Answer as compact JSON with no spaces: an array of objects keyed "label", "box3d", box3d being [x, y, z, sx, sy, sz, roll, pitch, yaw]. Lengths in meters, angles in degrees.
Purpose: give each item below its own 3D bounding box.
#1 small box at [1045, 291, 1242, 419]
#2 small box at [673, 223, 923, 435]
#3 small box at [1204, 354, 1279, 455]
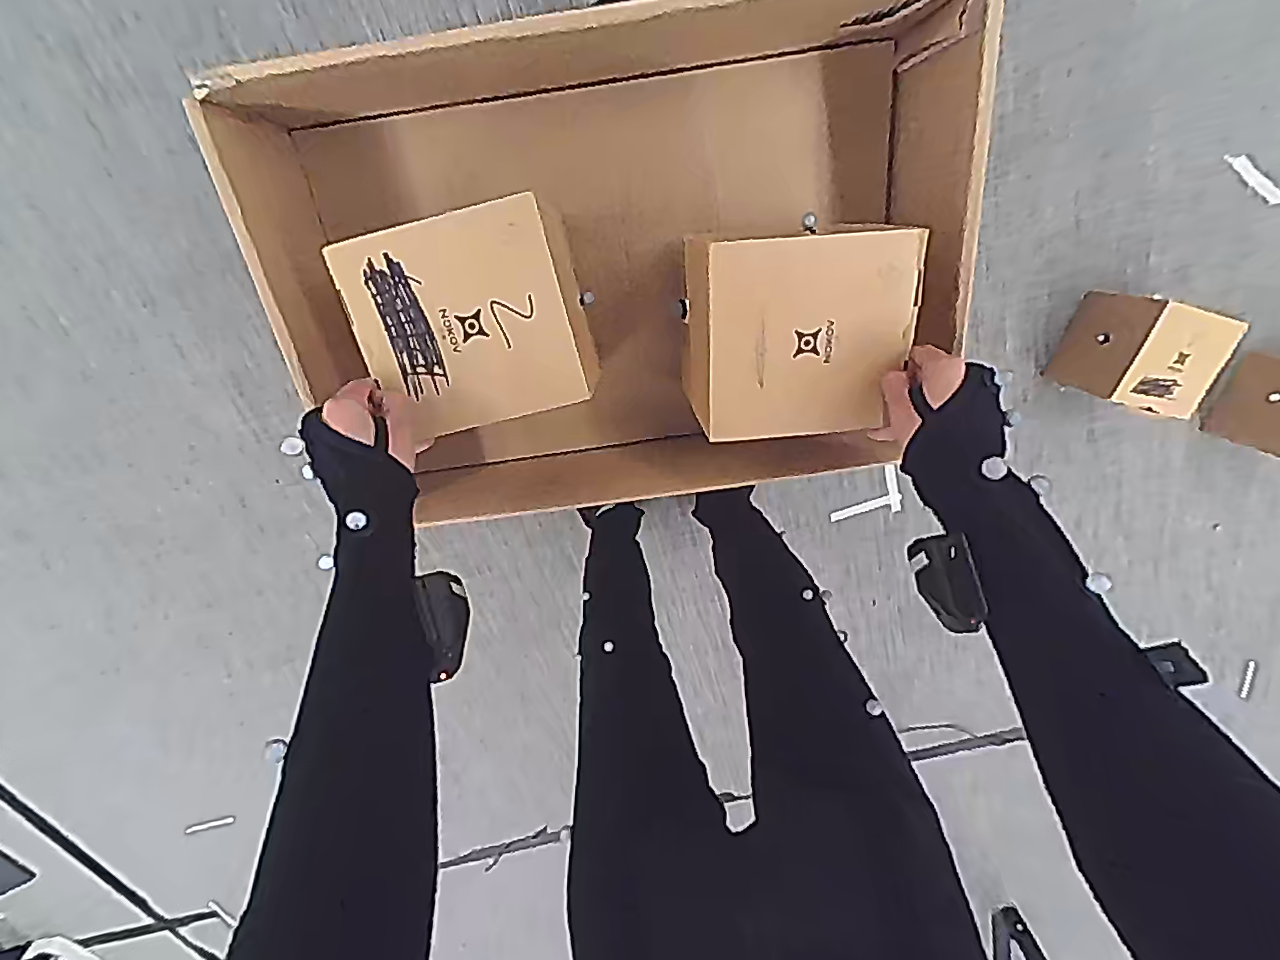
[{"label":"small box","box3d":[0.905,-0.235,0.998,0.168,0.176,0.179,12,113,-8]},{"label":"small box","box3d":[0.133,-0.154,0.522,0.179,0.176,0.168,-5,115,-3]},{"label":"small box","box3d":[1.286,-0.142,1.056,0.168,0.176,0.179,6,113,-5]}]
